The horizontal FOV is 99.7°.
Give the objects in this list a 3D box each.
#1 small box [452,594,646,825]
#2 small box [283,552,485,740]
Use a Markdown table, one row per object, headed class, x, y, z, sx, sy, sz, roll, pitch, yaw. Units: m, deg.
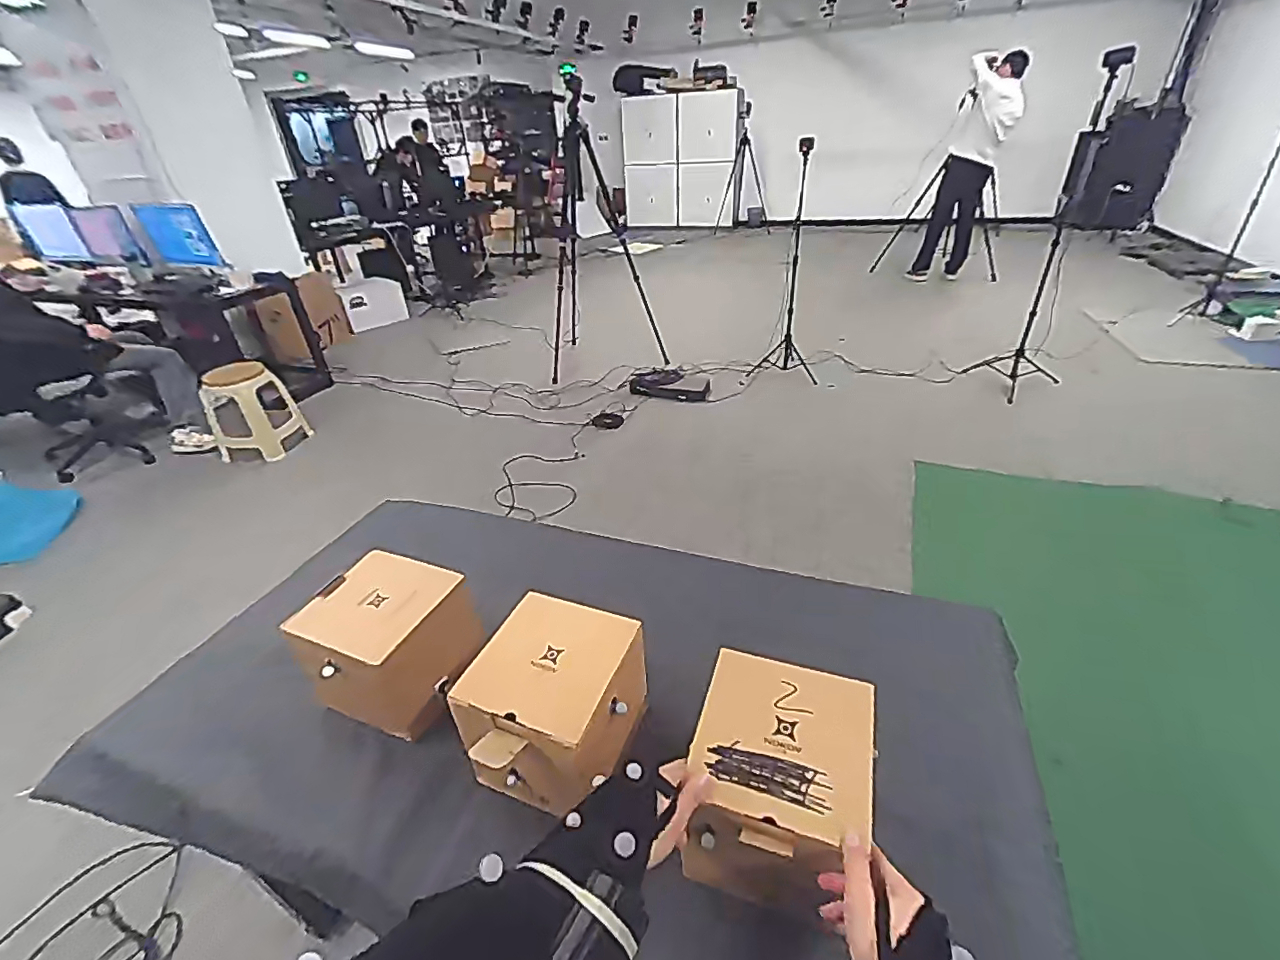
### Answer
| class | x | y | z | sx | sy | sz | roll | pitch | yaw |
| --- | --- | --- | --- | --- | --- | --- | --- | --- | --- |
| small box | -0.099 | 0.277 | 0.671 | 0.168 | 0.176 | 0.179 | 10 | 35 | 20 |
| small box | -0.348 | 0.232 | 0.766 | 0.179 | 0.176 | 0.168 | 11 | 36 | 21 |
